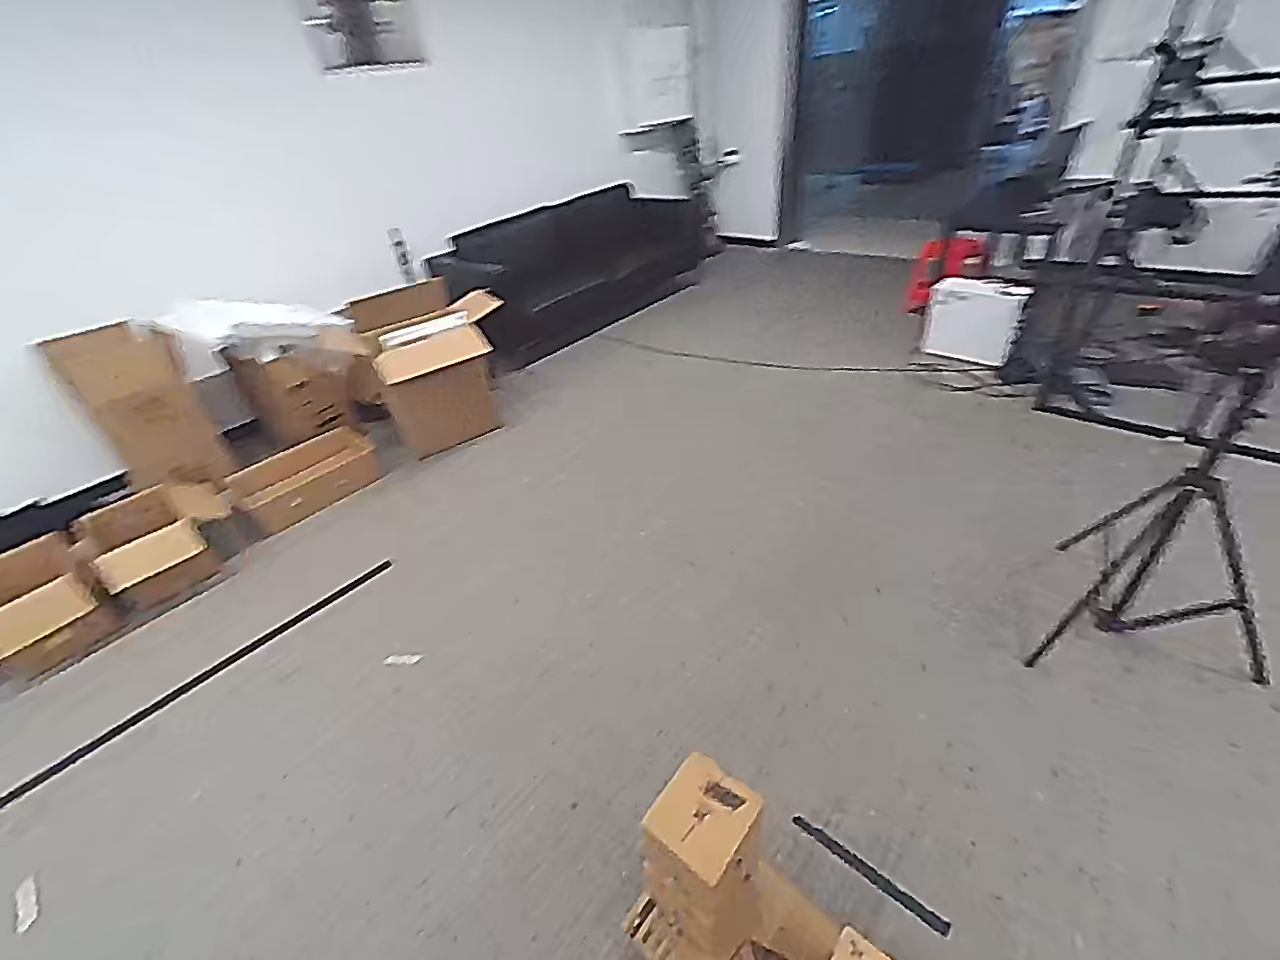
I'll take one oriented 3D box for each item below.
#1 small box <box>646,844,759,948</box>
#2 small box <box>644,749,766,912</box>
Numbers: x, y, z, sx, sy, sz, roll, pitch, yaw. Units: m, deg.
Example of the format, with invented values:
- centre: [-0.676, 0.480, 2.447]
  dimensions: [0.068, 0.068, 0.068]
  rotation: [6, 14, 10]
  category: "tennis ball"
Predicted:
- centre: [0.132, 0.821, 1.141]
  dimensions: [0.168, 0.176, 0.179]
  rotation: [25, 46, 36]
  category: "small box"
- centre: [0.126, 0.681, 1.055]
  dimensions: [0.168, 0.176, 0.179]
  rotation: [24, 46, 35]
  category: "small box"
